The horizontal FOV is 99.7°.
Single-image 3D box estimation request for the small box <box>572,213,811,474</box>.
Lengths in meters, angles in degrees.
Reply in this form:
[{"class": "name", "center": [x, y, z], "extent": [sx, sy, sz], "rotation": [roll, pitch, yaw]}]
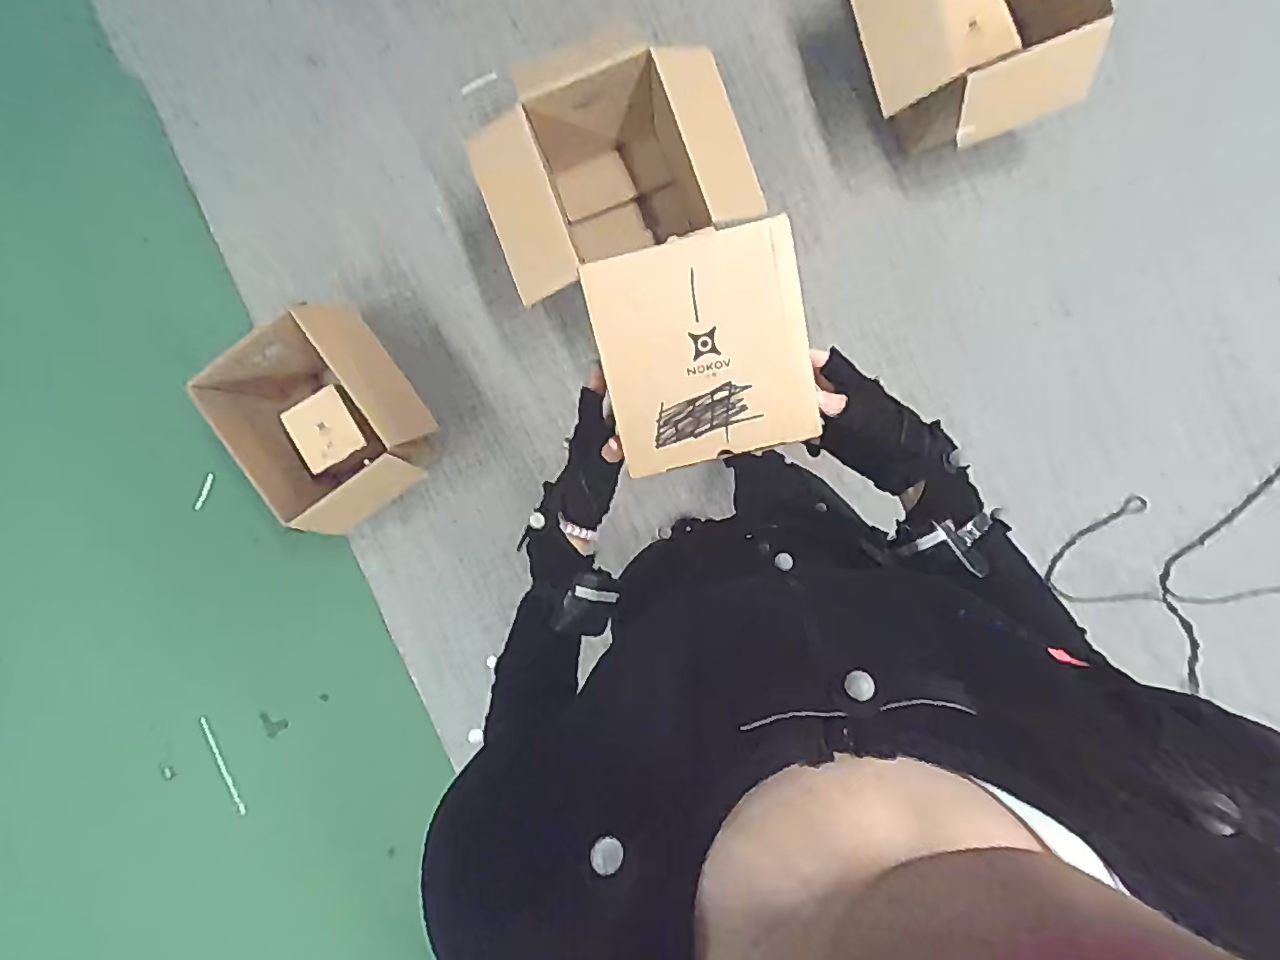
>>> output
[{"class": "small box", "center": [0.044, -0.124, 0.507], "extent": [0.168, 0.176, 0.179], "rotation": [-14, 105, 2]}]
